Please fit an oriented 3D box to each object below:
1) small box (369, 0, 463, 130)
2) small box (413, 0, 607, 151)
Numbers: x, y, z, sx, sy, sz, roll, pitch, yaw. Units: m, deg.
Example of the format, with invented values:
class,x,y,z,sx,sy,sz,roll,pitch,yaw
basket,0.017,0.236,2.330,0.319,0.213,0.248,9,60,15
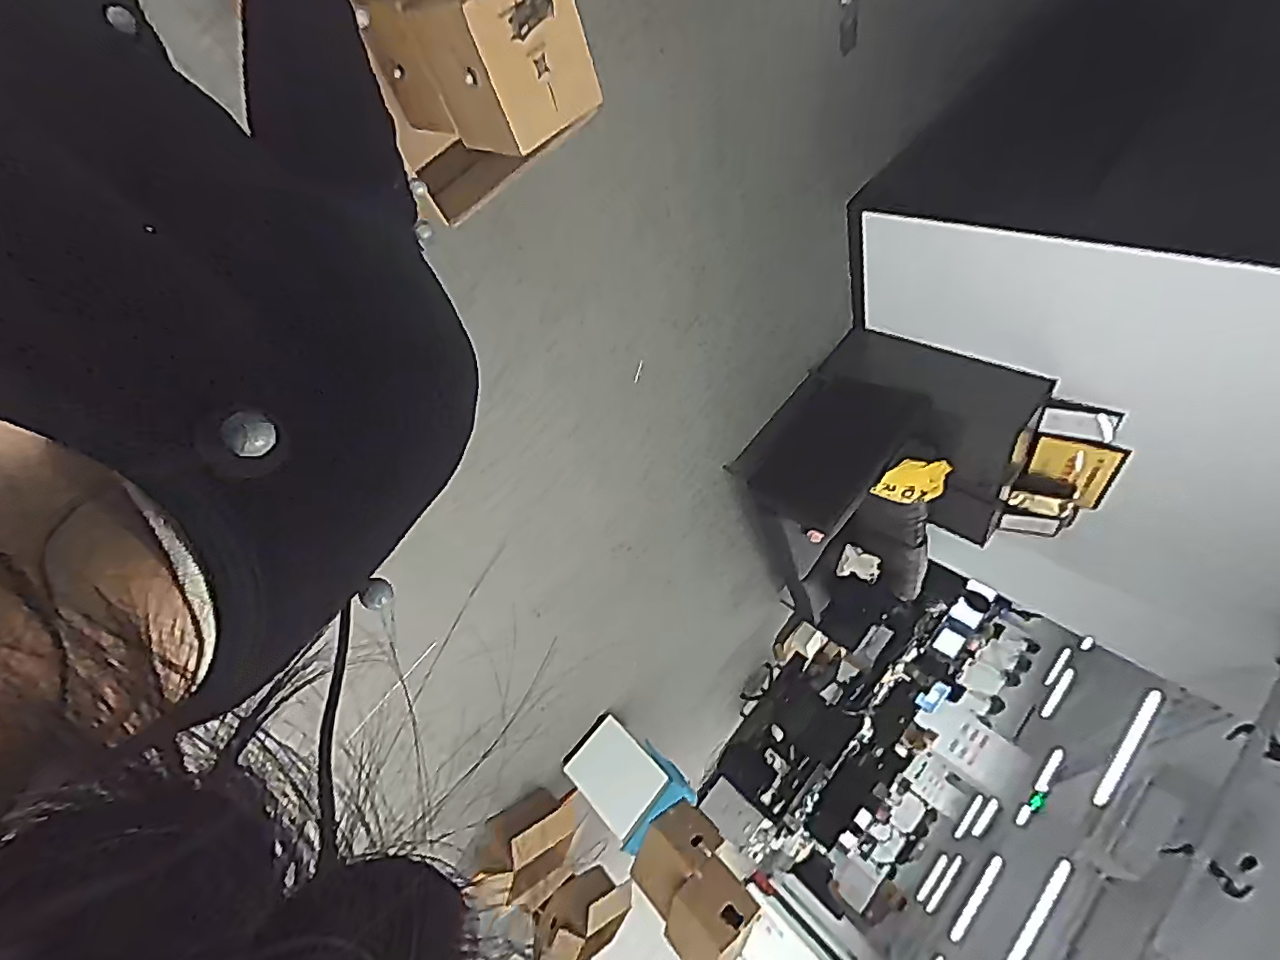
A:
class,x,y,z,sx,sy,sz,roll,pitch,yaw
small box,-0.294,-0.677,0.848,0.179,0.176,0.168,-43,141,-18
small box,-0.181,-0.596,0.760,0.168,0.176,0.179,-44,142,-16
